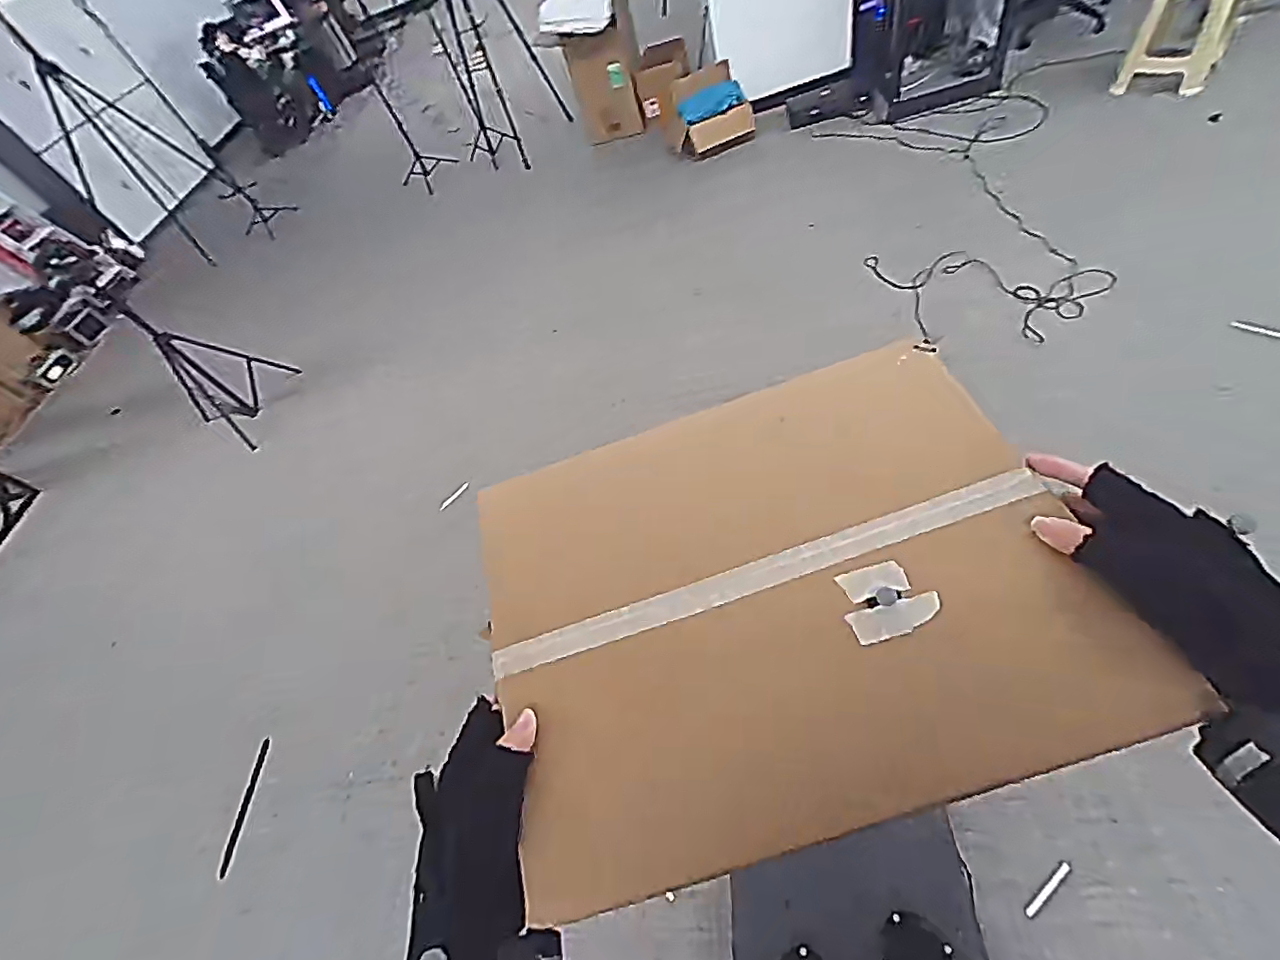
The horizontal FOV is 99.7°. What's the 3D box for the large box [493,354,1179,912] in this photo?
[{"bbox_3d":[0.121,0.150,0.525,0.408,0.320,0.320,-19,57,2],"label":"large box"}]
